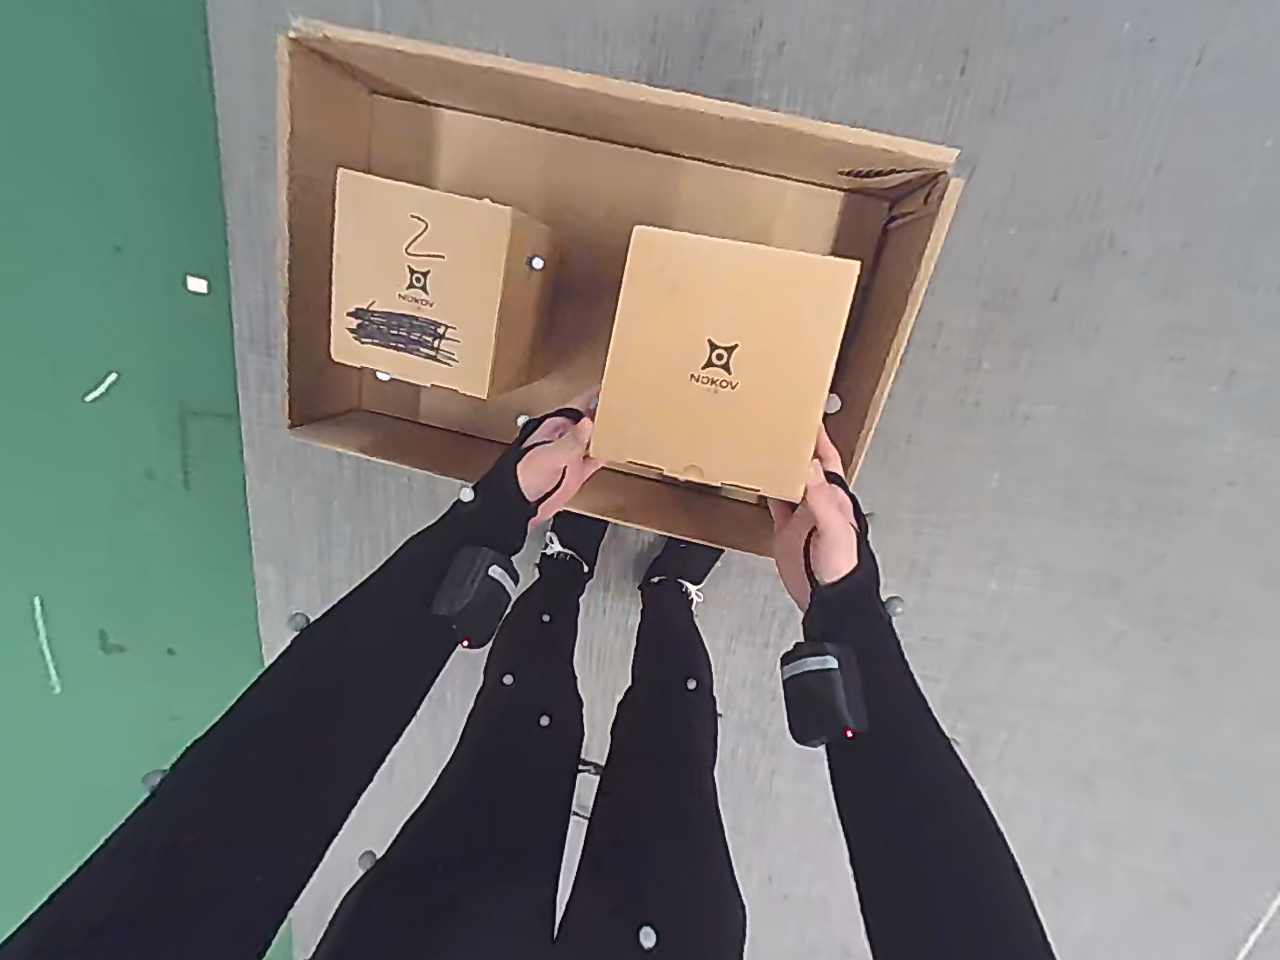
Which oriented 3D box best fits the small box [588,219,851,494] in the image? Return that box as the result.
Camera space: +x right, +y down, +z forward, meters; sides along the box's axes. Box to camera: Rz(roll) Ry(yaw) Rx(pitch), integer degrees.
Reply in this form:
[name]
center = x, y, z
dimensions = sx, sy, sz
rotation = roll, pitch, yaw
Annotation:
[small box]
center = 0.063, -0.100, 0.476
dimensions = 0.168, 0.176, 0.179
rotation = 12, 99, 6
